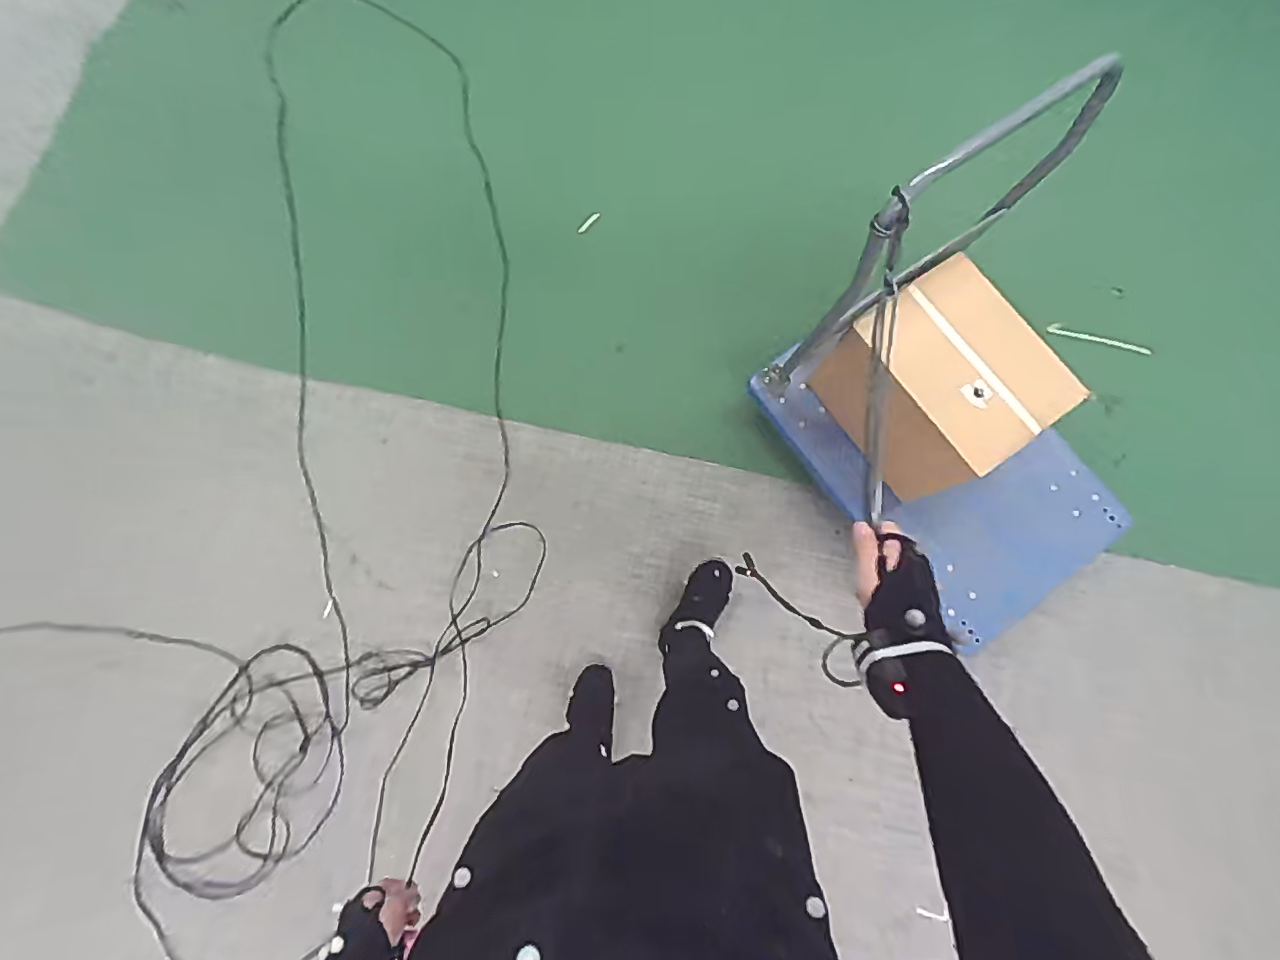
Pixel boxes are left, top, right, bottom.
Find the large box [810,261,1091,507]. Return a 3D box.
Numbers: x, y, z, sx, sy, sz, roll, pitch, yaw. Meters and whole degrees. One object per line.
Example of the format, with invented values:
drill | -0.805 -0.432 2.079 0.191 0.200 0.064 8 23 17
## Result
large box | 0.676 -0.201 1.251 0.320 0.320 0.408 -34 81 -8
